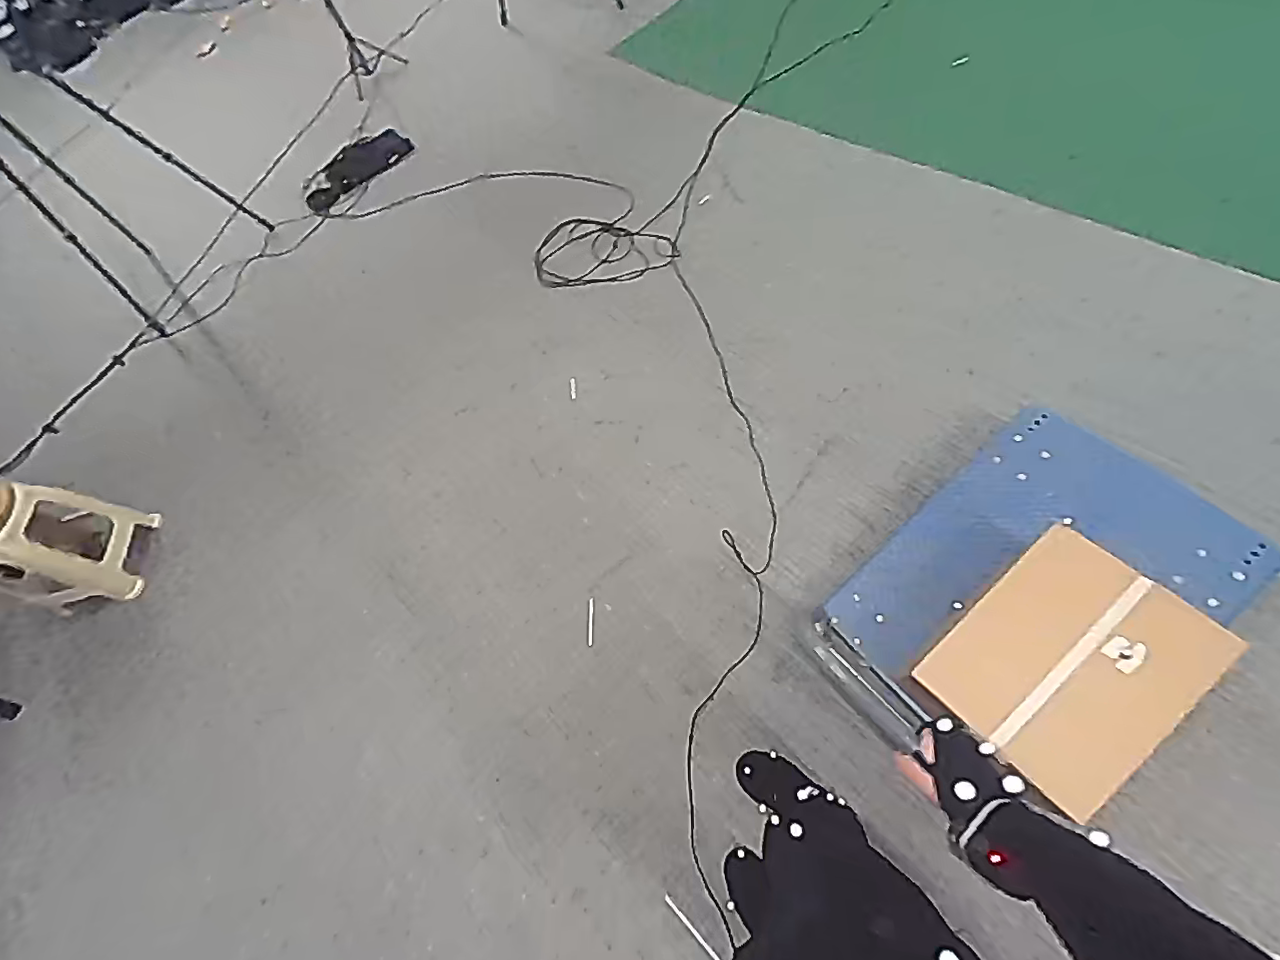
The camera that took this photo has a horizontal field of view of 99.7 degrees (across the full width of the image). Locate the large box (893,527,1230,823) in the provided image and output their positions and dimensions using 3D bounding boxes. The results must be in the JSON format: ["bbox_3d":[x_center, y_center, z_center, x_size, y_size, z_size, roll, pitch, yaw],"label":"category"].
[{"bbox_3d":[0.775,0.375,1.071,0.408,0.320,0.320,-44,63,-4],"label":"large box"}]
